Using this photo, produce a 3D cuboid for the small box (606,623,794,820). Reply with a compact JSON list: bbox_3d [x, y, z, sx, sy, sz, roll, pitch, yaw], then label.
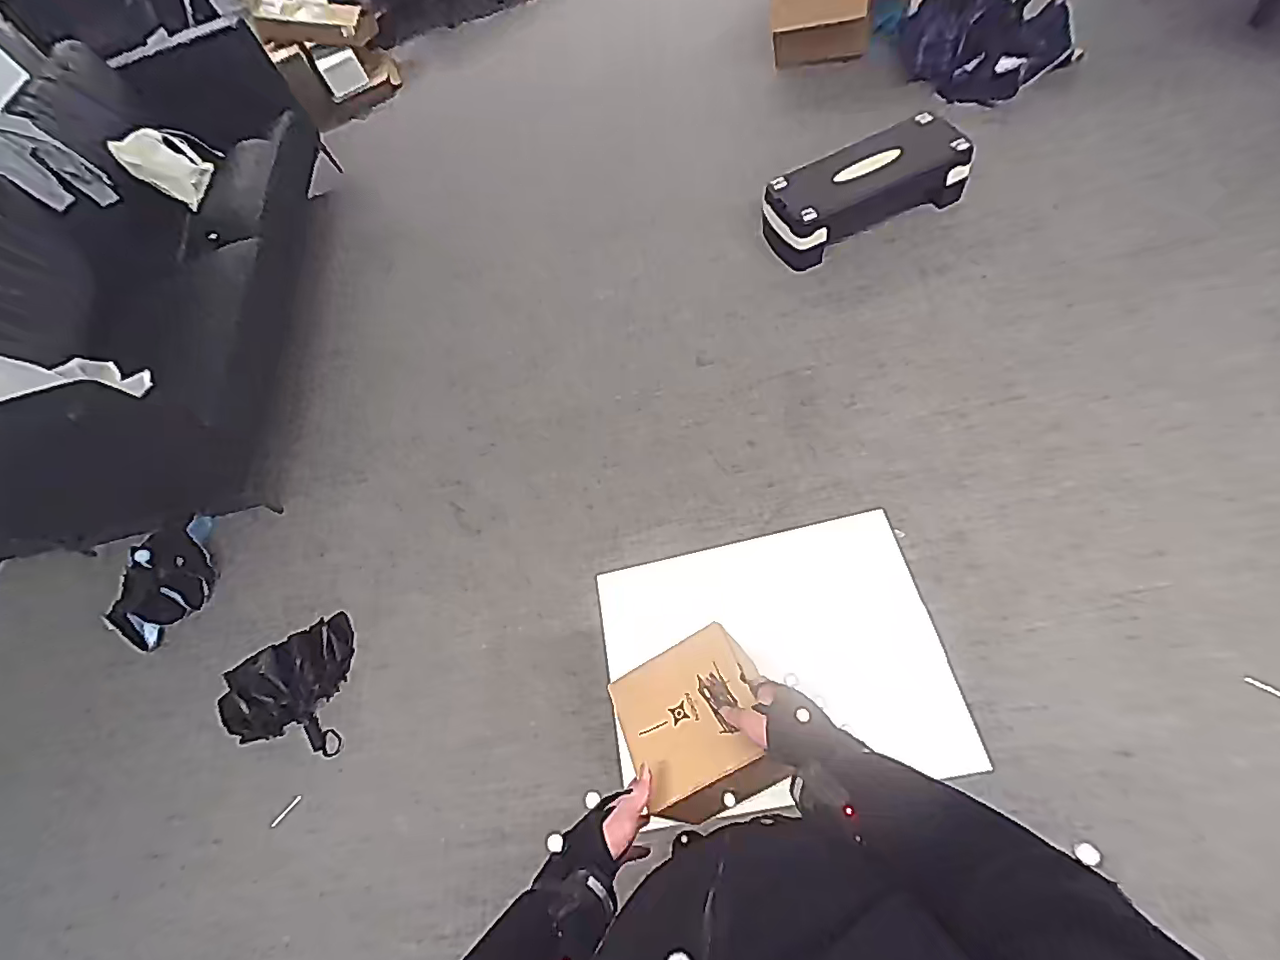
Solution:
[{"bbox_3d":[0.086,0.325,0.720,0.179,0.176,0.168,-33,47,6],"label":"small box"}]
